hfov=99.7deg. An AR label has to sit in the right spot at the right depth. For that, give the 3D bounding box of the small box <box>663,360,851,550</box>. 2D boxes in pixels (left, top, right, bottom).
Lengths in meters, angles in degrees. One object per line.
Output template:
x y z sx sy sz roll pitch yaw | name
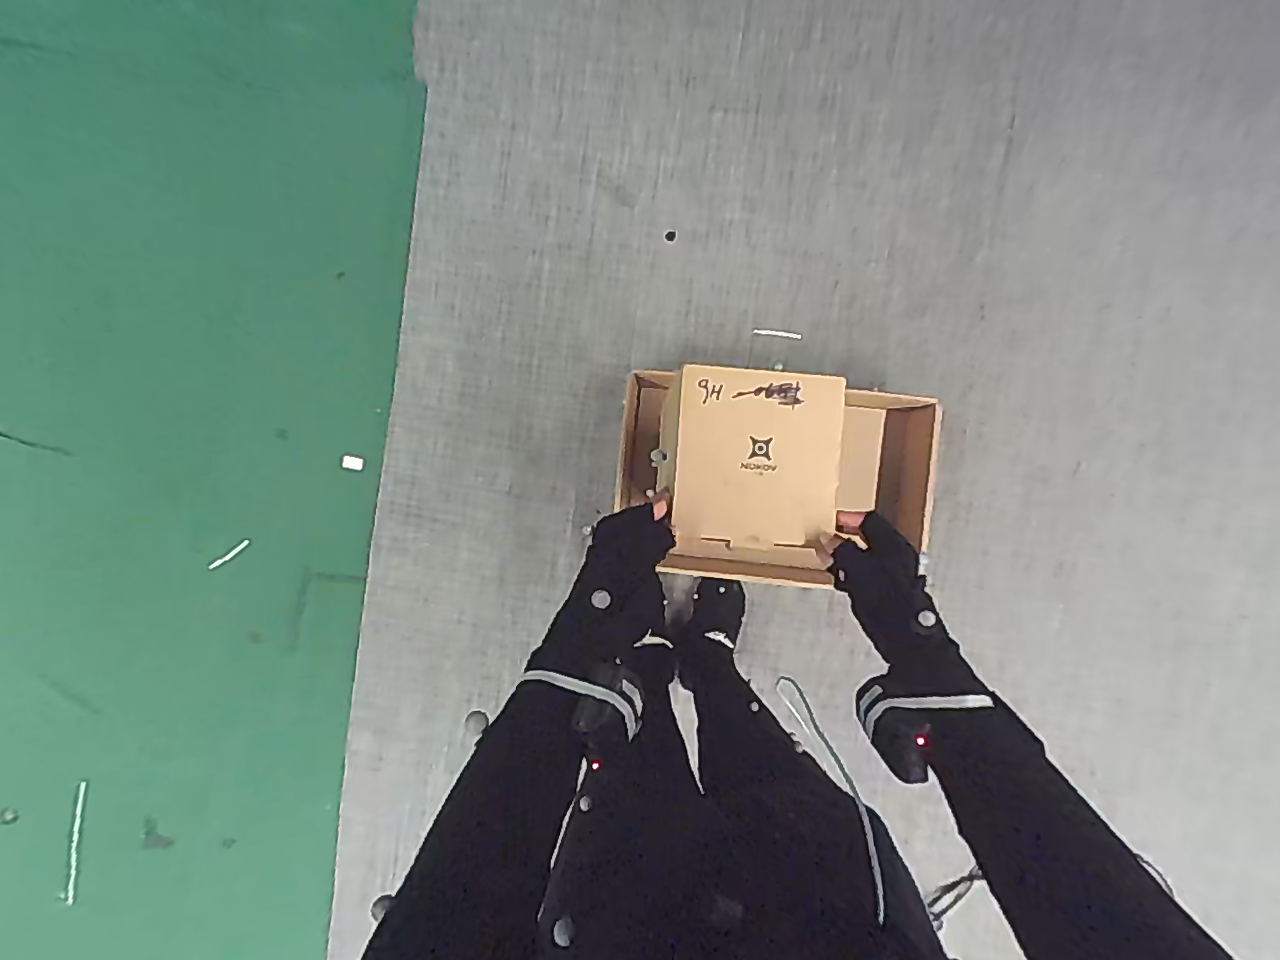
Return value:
0.117 -0.026 0.609 0.168 0.176 0.179 4 91 -2 | small box
